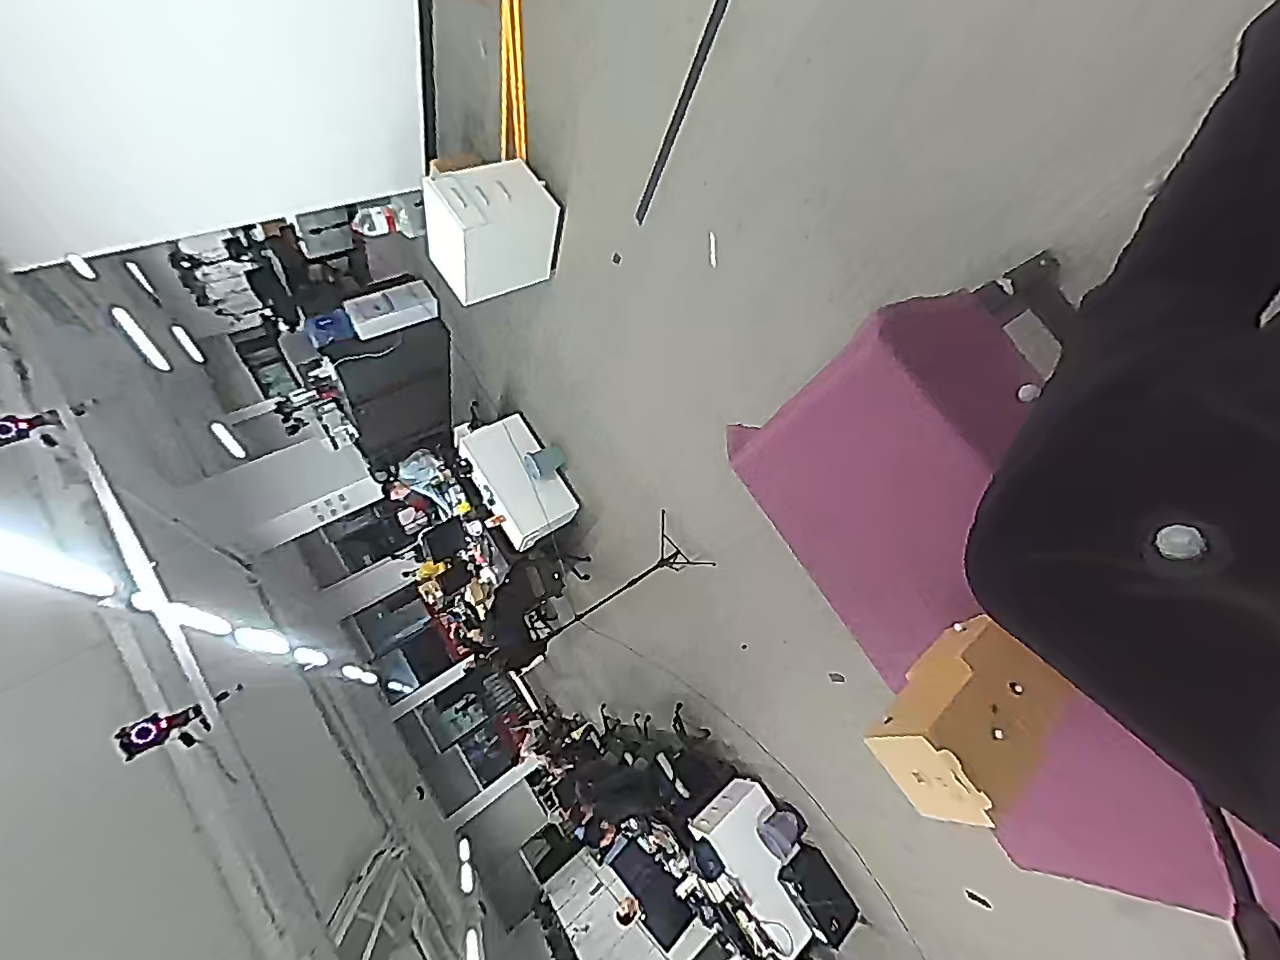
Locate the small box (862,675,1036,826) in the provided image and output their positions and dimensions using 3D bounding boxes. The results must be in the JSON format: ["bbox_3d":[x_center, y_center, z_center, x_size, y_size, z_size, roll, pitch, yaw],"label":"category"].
[{"bbox_3d":[0.549,0.474,0.967,0.168,0.176,0.179,53,152,13],"label":"small box"}]

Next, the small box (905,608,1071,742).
[{"bbox_3d":[0.666,0.380,1.039,0.179,0.176,0.168,51,152,18],"label":"small box"}]
